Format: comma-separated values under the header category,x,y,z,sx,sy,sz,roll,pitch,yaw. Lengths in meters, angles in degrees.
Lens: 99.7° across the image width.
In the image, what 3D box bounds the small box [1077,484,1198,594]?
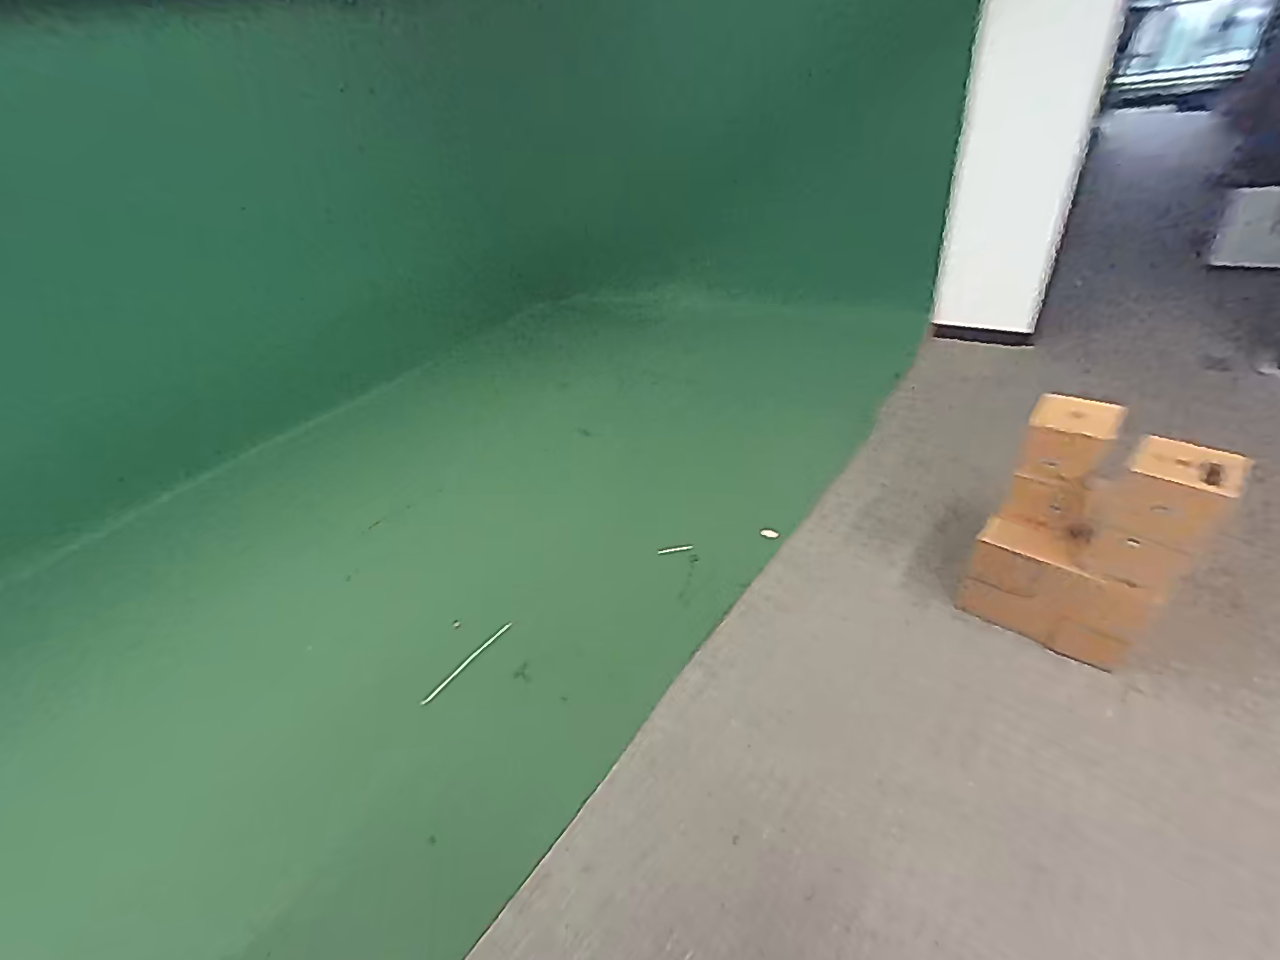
category,x,y,z,sx,sy,sz,roll,pitch,yaw
small box,1.221,0.143,1.335,0.168,0.176,0.179,25,49,39

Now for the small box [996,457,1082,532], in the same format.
category,x,y,z,sx,sy,sz,roll,pitch,yaw
small box,1.135,0.019,1.528,0.168,0.176,0.179,23,48,38

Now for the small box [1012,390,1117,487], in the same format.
category,x,y,z,sx,sy,sz,roll,pitch,yaw
small box,1.114,-0.111,1.429,0.168,0.176,0.179,23,50,38
